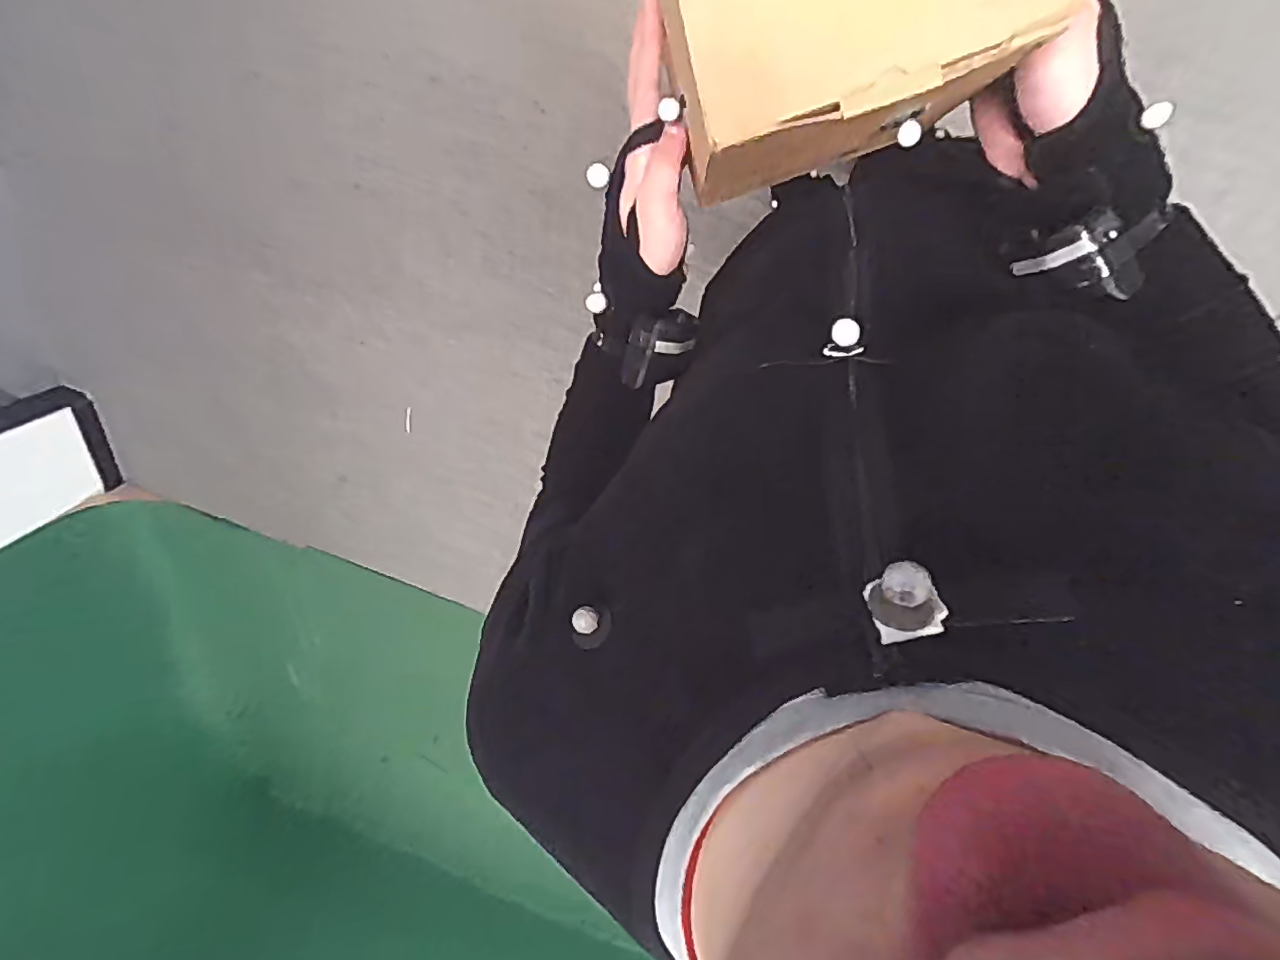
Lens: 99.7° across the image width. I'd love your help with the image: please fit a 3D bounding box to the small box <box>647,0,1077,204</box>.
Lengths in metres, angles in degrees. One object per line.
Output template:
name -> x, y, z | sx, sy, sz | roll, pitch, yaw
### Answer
small box -> 0.095, -0.274, 0.302 | 0.168, 0.176, 0.179 | -16, 105, 8
